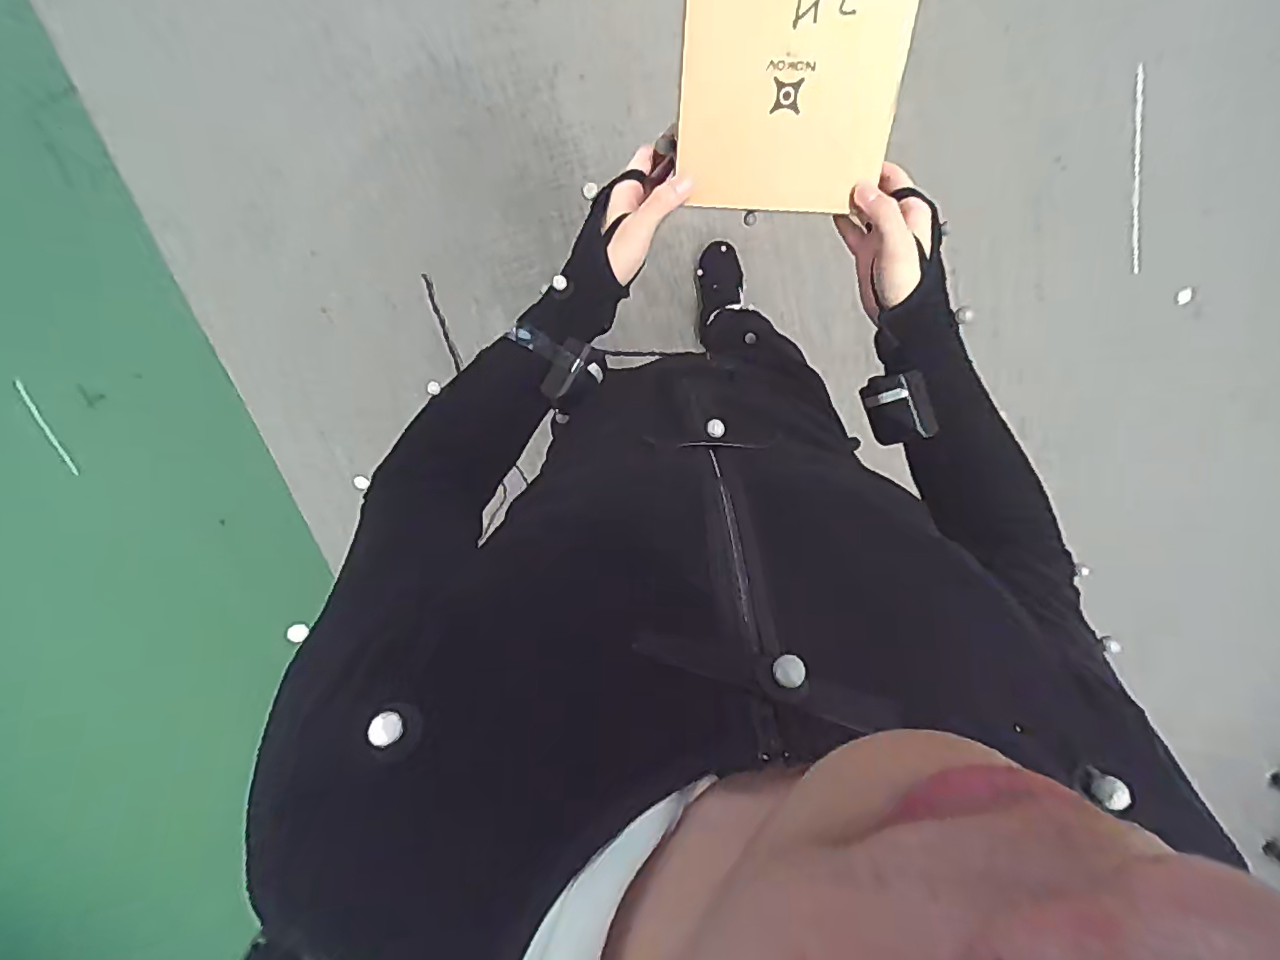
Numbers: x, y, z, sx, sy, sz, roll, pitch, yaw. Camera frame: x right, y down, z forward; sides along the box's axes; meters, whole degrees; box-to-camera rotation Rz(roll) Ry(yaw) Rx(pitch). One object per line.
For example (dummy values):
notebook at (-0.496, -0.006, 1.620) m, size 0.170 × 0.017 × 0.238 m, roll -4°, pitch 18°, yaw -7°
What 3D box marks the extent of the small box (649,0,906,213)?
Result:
small box at (0.099, -0.334, 0.457) m, size 0.168 × 0.176 × 0.179 m, roll 5°, pitch 119°, yaw -1°
